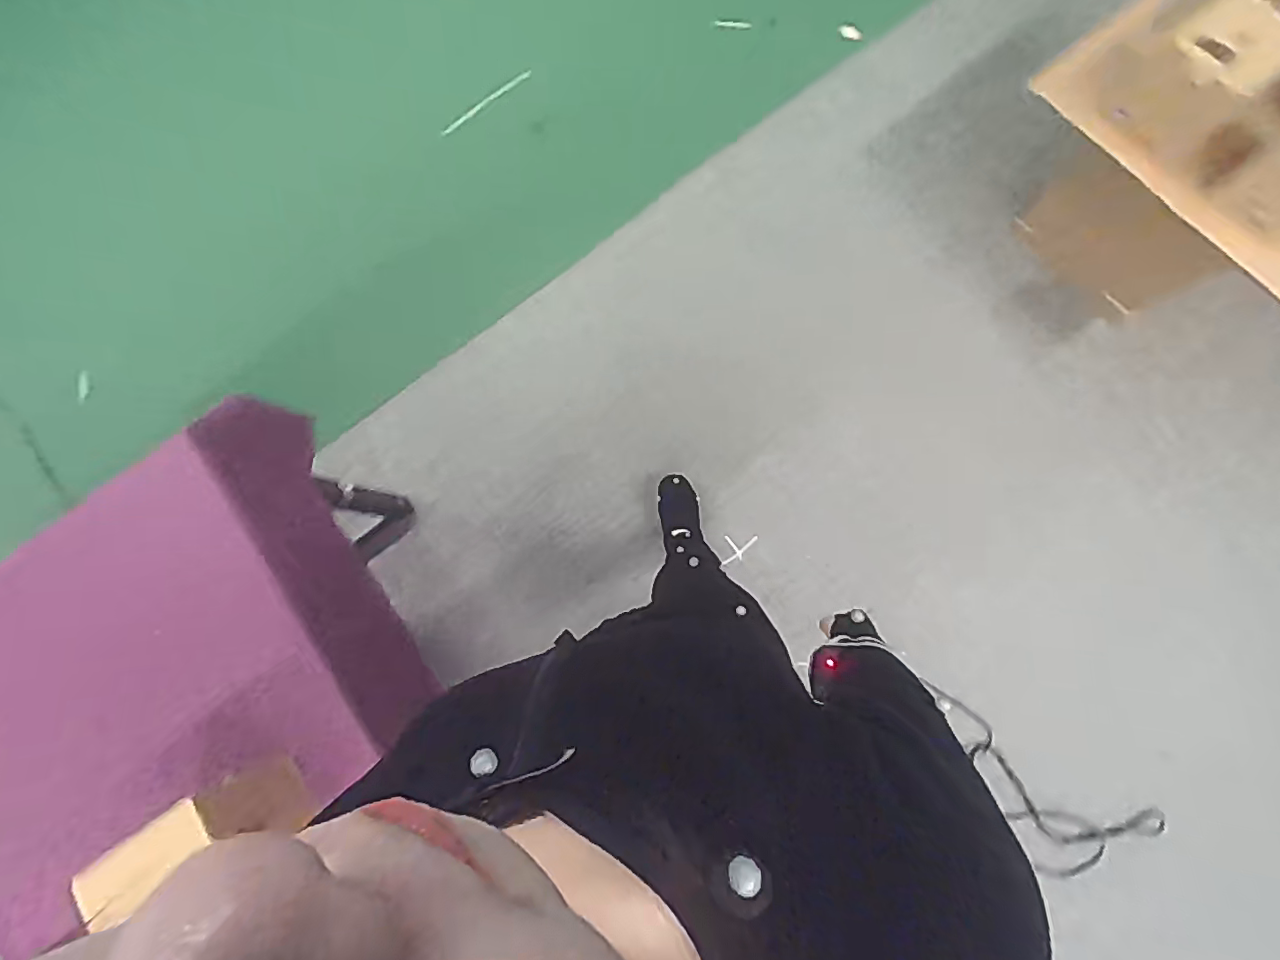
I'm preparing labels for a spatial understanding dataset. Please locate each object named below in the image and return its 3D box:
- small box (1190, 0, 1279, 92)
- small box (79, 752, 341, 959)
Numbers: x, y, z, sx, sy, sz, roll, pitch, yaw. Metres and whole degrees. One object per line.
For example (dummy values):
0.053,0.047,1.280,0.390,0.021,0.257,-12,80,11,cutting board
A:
1.226,-0.896,1.020,0.179,0.176,0.168,-39,79,-4,small box
-0.529,0.490,0.690,0.168,0.176,0.179,-35,79,-2,small box
